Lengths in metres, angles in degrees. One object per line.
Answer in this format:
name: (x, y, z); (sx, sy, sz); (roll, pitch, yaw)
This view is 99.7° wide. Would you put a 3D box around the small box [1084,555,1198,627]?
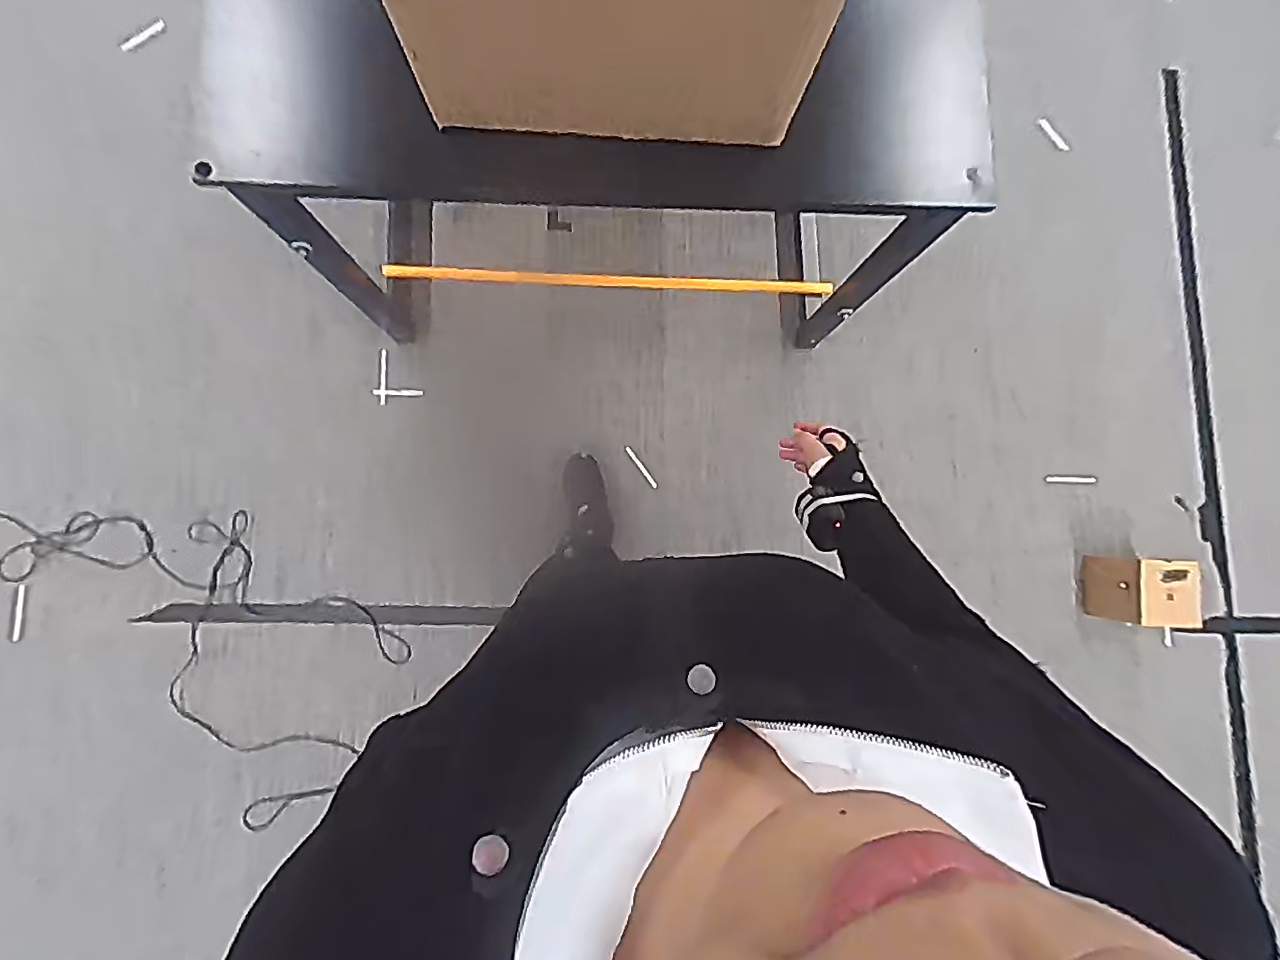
small box: (1.376, 0.301, 1.494); (0.168, 0.176, 0.179); (3, 86, -3)
